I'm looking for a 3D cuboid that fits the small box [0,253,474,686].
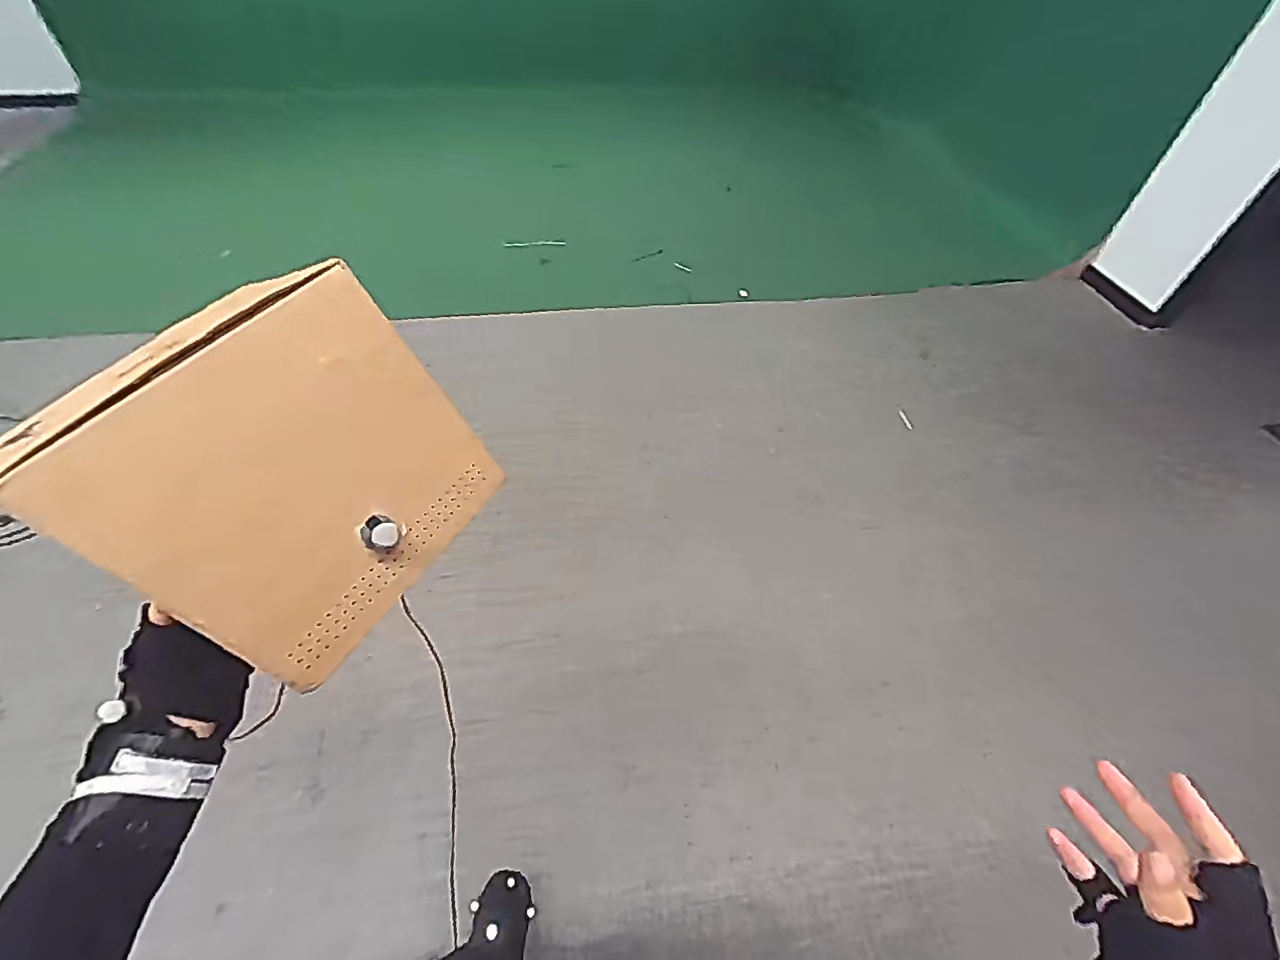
[{"bbox_3d":[-0.231,-0.011,0.335,0.168,0.176,0.179,8,50,39],"label":"small box"}]
